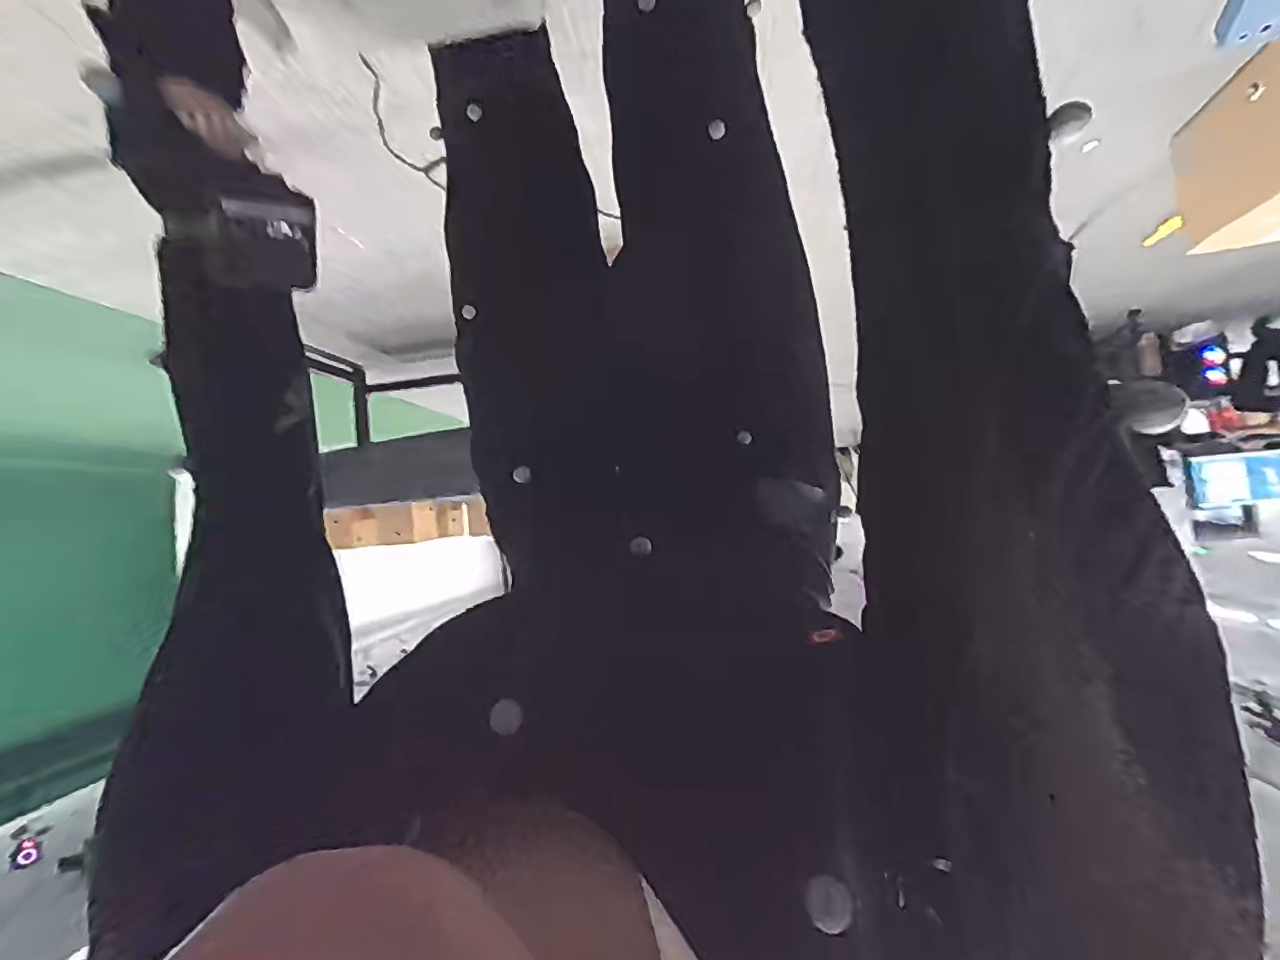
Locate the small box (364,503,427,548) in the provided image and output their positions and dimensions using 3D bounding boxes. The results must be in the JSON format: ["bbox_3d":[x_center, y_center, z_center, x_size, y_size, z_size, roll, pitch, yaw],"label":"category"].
[{"bbox_3d":[-1.009,0.183,2.229,0.179,0.176,0.168,-6,177,10],"label":"small box"}]

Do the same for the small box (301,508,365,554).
[{"bbox_3d":[-1.270,0.208,2.241,0.168,0.176,0.179,-6,177,4],"label":"small box"}]
